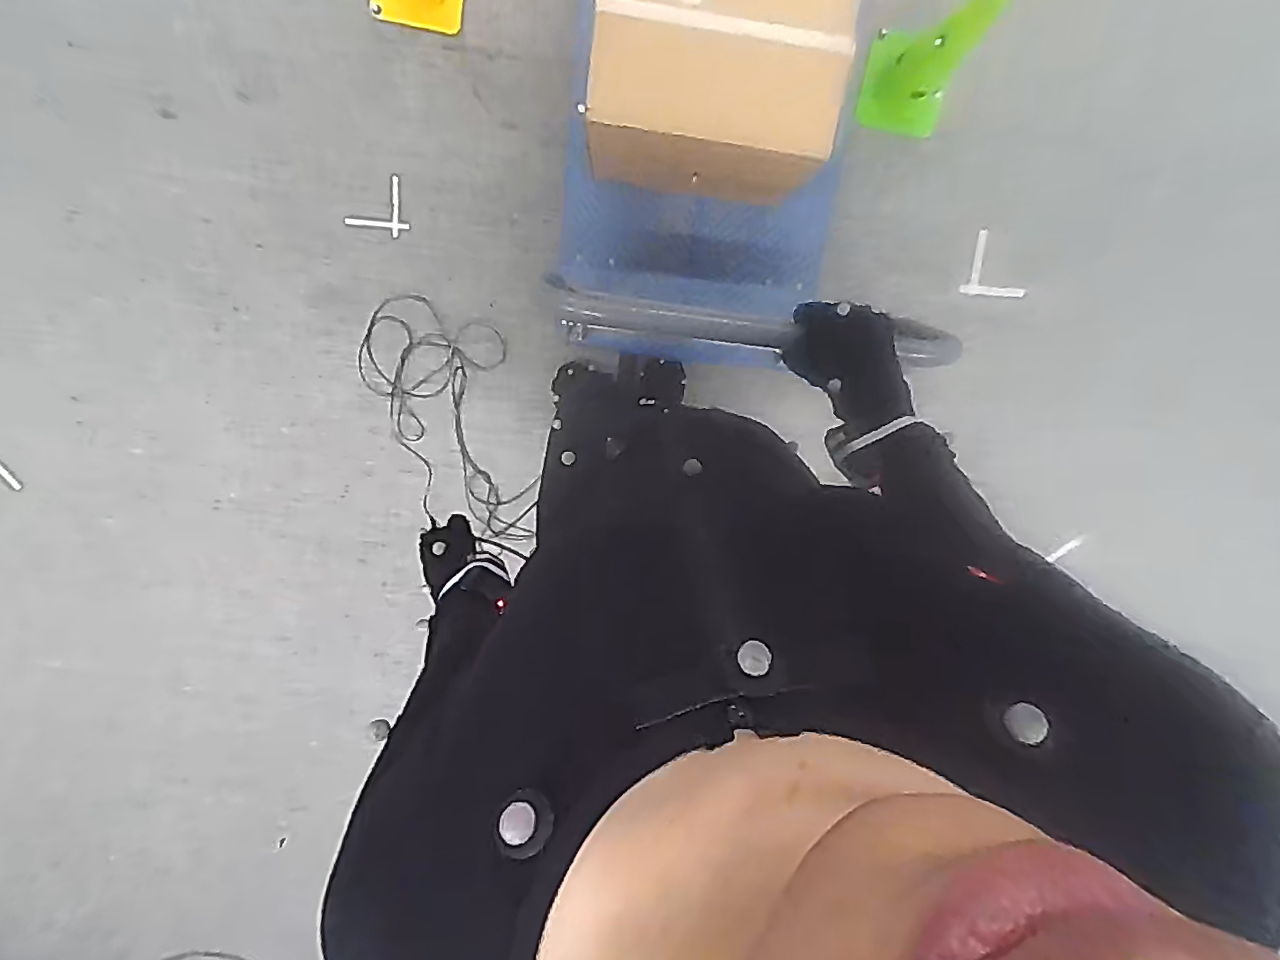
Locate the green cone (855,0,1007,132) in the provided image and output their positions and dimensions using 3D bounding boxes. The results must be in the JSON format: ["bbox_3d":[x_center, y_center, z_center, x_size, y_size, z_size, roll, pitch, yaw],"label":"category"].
[{"bbox_3d":[0.629,-0.909,1.111,0.202,0.368,0.200,9,103,-6],"label":"green cone"}]

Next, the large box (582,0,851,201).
[{"bbox_3d":[0.119,-0.731,0.984,0.408,0.320,0.320,7,103,-3],"label":"large box"}]
